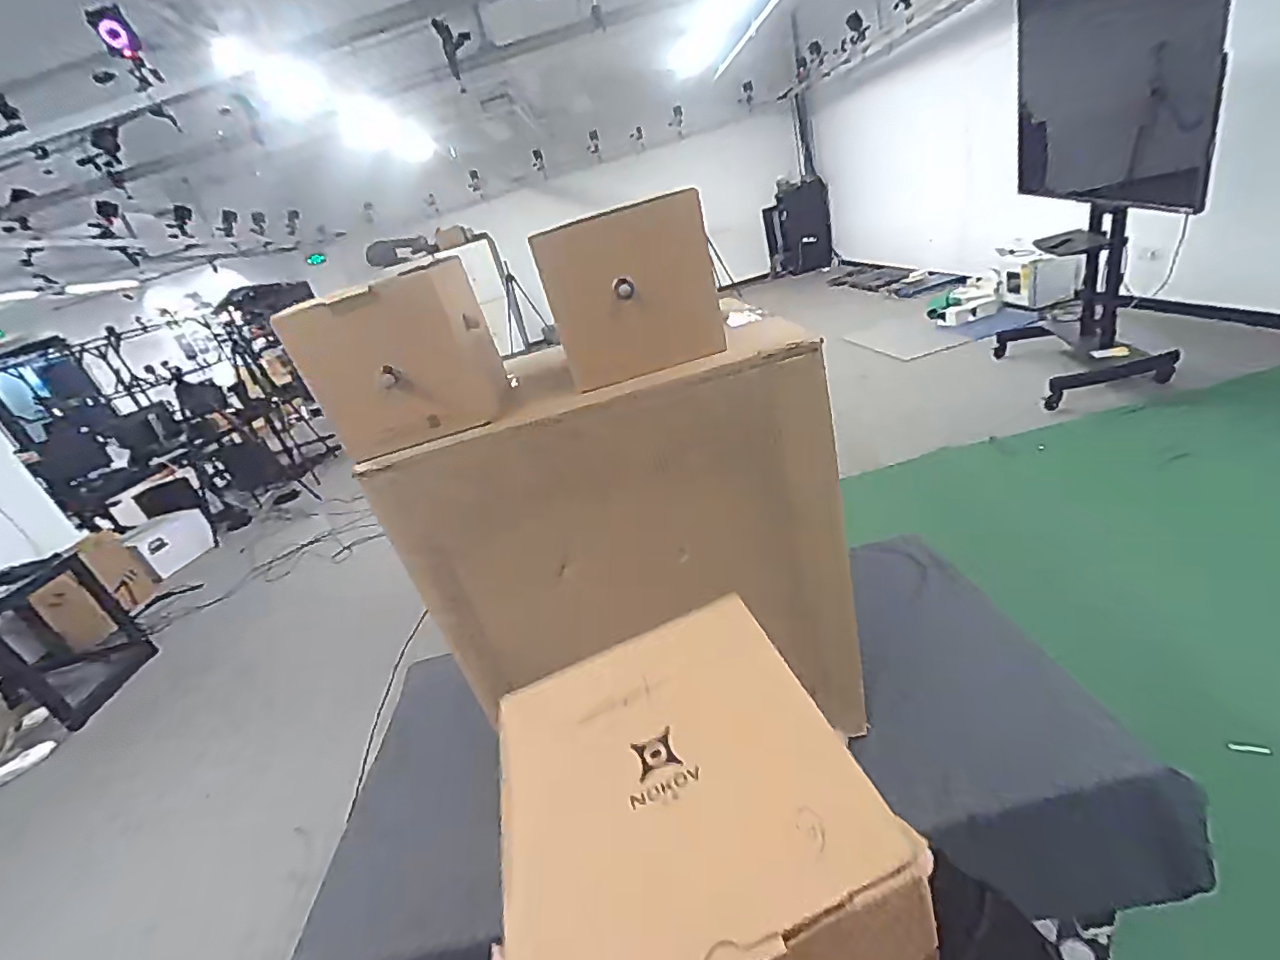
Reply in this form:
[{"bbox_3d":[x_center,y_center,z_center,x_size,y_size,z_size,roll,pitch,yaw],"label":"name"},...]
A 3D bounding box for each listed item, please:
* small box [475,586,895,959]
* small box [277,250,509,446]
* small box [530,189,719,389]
[{"bbox_3d":[0.022,0.200,0.307,0.168,0.176,0.179,-21,26,-5],"label":"small box"},{"bbox_3d":[-0.267,-0.153,0.636,0.168,0.176,0.179,-16,28,2],"label":"small box"},{"bbox_3d":[-0.012,-0.225,0.633,0.179,0.176,0.168,-15,27,2],"label":"small box"}]
